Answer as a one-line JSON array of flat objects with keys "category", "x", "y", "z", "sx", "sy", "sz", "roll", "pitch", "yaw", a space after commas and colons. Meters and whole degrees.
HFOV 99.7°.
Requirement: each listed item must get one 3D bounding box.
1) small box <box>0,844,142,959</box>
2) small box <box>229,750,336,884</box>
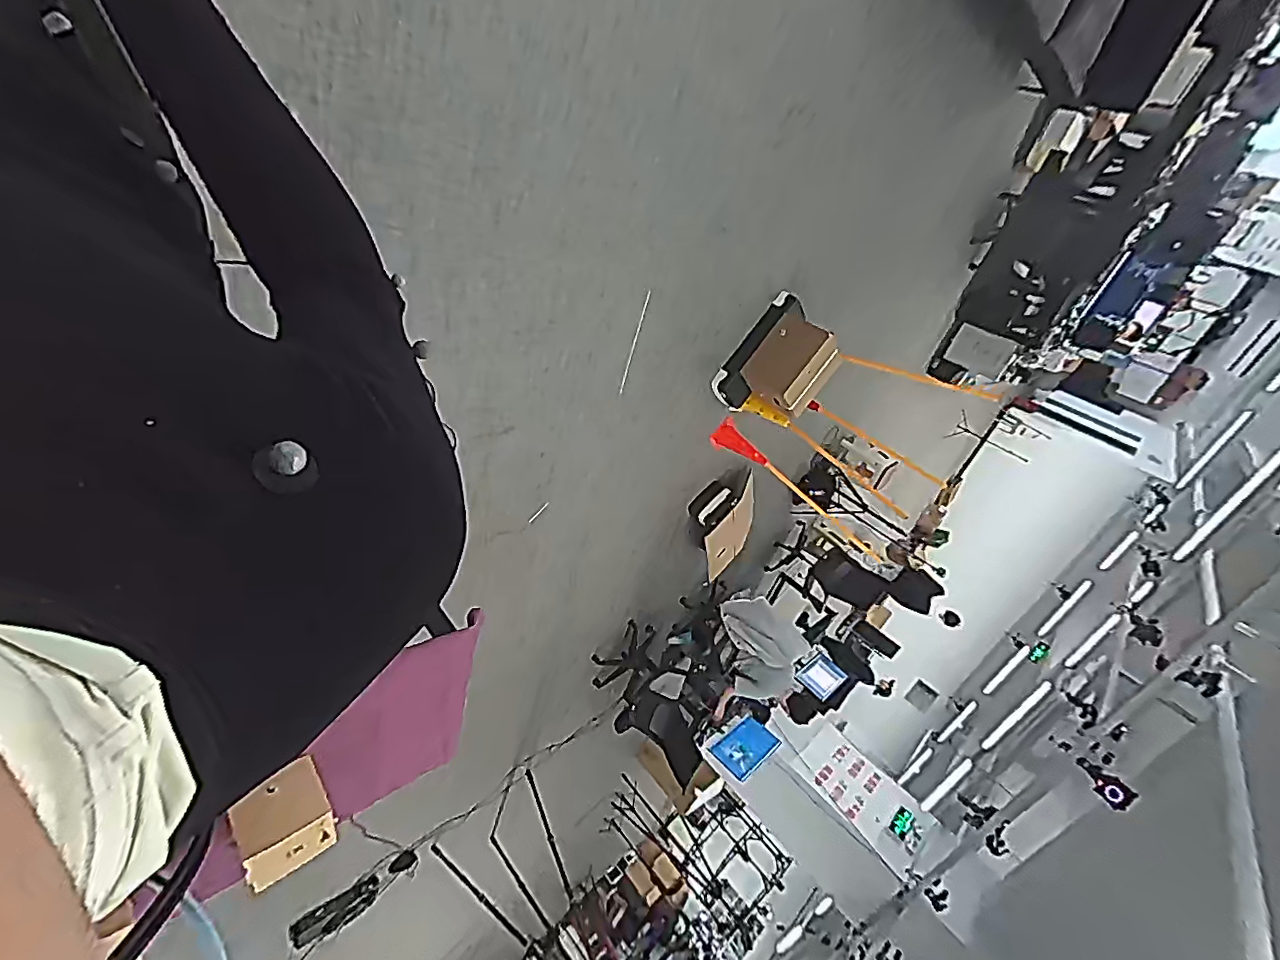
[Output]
[{"category": "small box", "x": -1.085, "y": 0.852, "z": 1.036, "sx": 0.168, "sy": 0.176, "sz": 0.179, "roll": -13, "pitch": 132, "yaw": -46}, {"category": "small box", "x": -0.844, "y": 0.786, "z": 1.275, "sx": 0.179, "sy": 0.176, "sz": 0.168, "roll": -18, "pitch": 136, "yaw": -41}]
